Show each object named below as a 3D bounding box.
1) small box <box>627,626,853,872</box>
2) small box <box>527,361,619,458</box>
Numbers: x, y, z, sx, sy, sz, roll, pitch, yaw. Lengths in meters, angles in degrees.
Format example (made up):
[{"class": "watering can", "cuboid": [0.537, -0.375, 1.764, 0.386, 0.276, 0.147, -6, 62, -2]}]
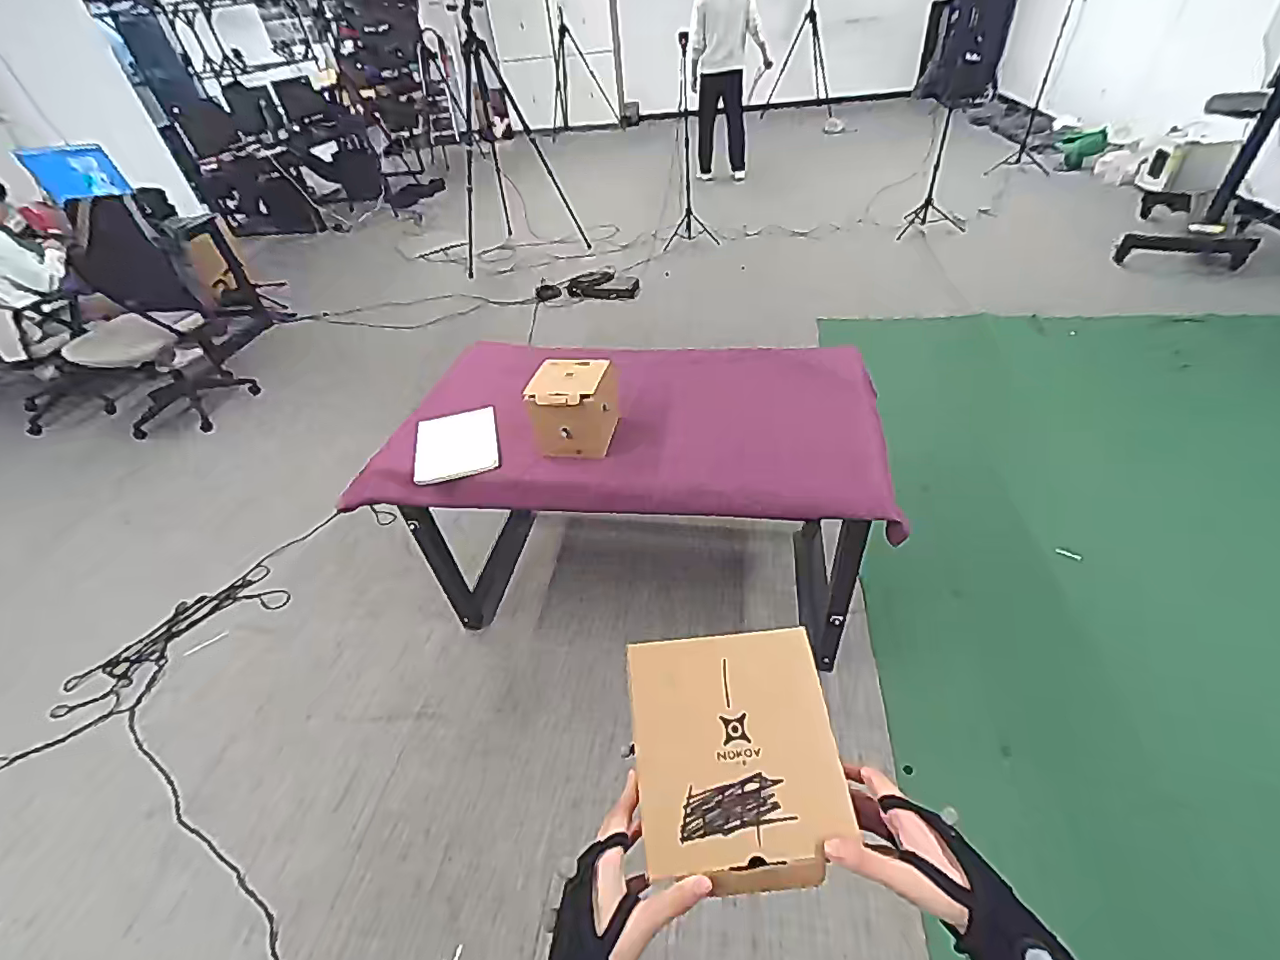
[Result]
[{"class": "small box", "cuboid": [0.076, 0.255, 0.519, 0.168, 0.176, 0.179, -4, 58, -3]}, {"class": "small box", "cuboid": [-0.151, -0.170, 1.301, 0.168, 0.176, 0.179, 4, 43, 11]}]
